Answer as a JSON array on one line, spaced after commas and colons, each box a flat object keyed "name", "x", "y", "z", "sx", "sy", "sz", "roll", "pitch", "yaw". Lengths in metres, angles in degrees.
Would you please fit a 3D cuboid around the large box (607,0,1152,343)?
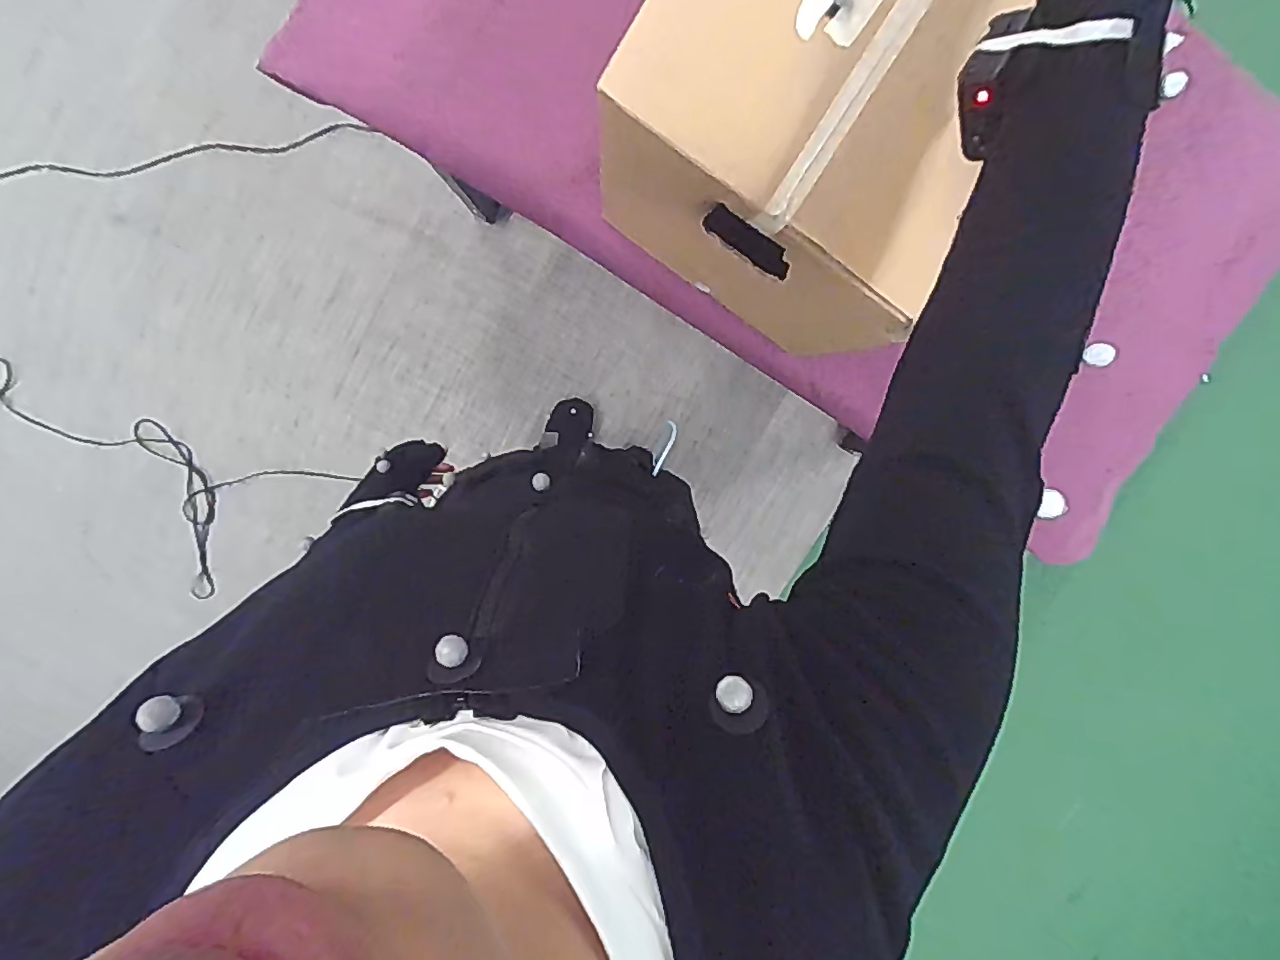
[{"name": "large box", "x": 0.199, "y": -0.396, "z": 0.542, "sx": 0.320, "sy": 0.320, "sz": 0.408, "roll": 33, "pitch": 98, "yaw": -9}]
